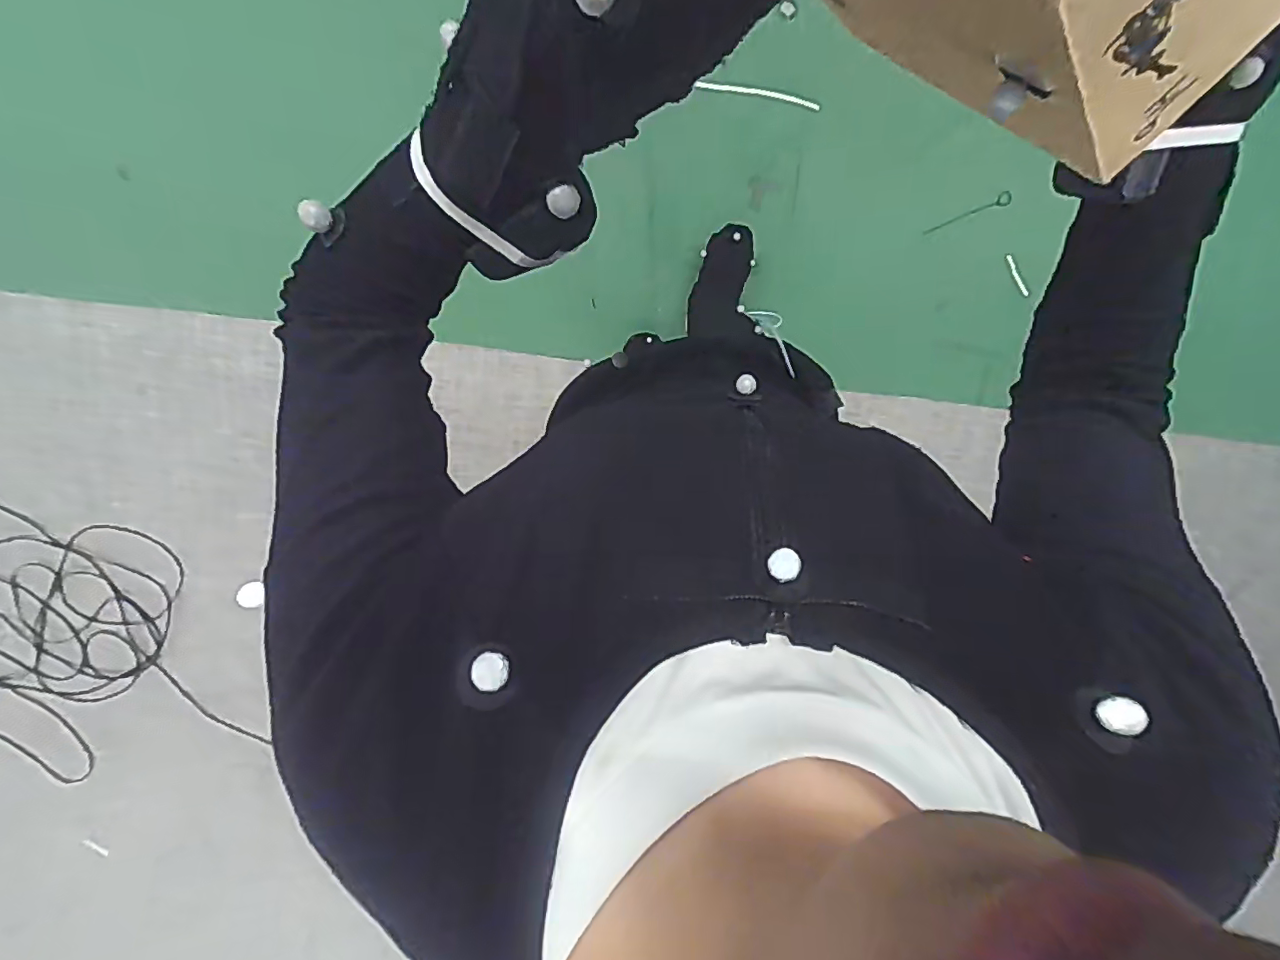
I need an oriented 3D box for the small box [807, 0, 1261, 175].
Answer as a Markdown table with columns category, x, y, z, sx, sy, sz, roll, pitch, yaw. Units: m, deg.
| category | x | y | z | sx | sy | sz | roll | pitch | yaw |
| --- | --- | --- | --- | --- | --- | --- | --- | --- | --- |
| small box | 0.156 | -0.255 | 0.187 | 0.176 | 0.168 | 0.179 | 55 | 128 | 25 |
